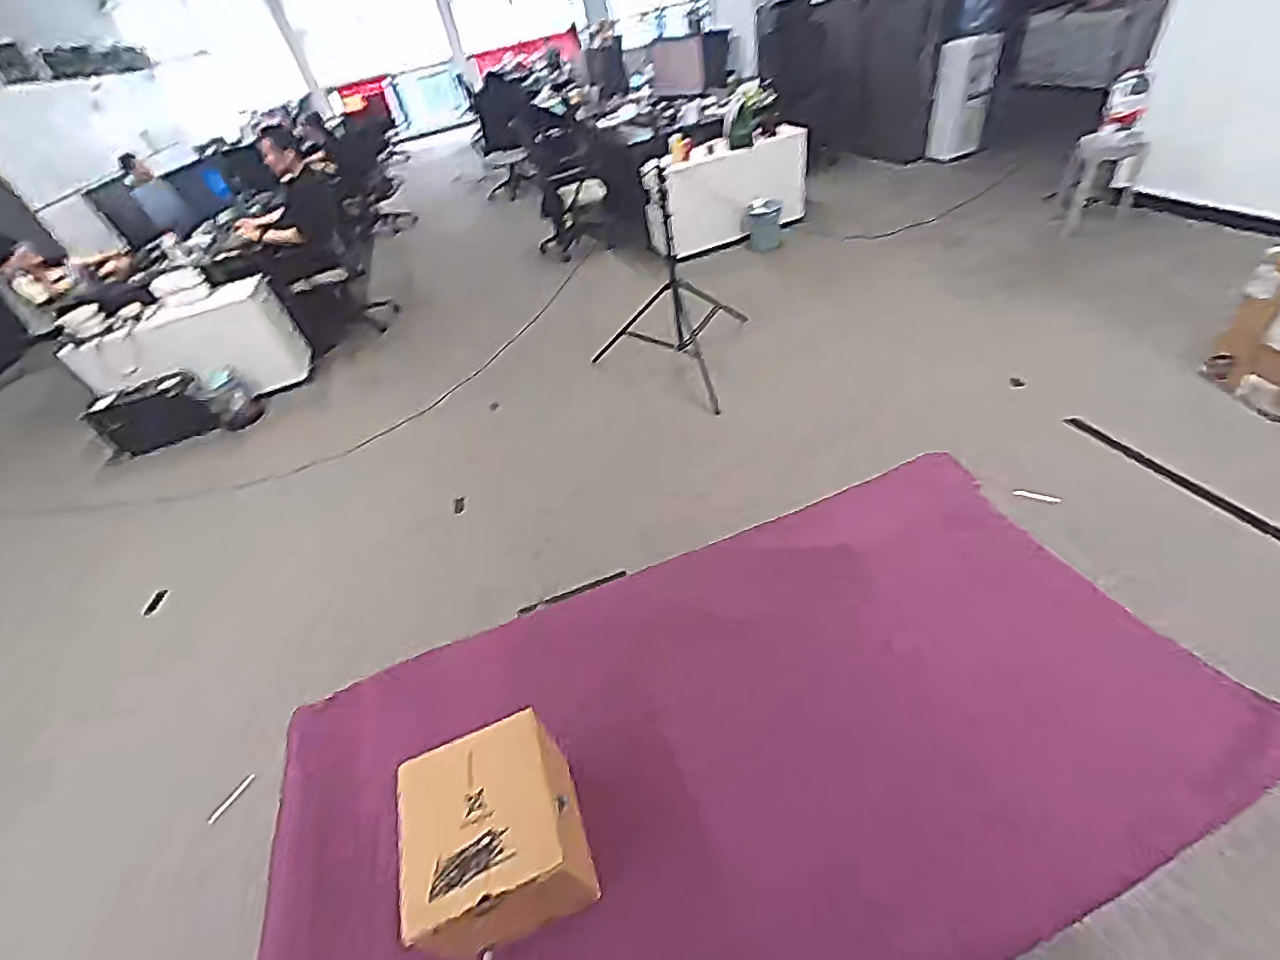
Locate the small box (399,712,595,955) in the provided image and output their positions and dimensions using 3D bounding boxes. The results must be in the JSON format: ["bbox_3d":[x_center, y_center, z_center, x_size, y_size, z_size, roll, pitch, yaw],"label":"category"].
[{"bbox_3d":[-0.165,0.419,0.638,0.168,0.176,0.179,-21,42,-9],"label":"small box"}]
